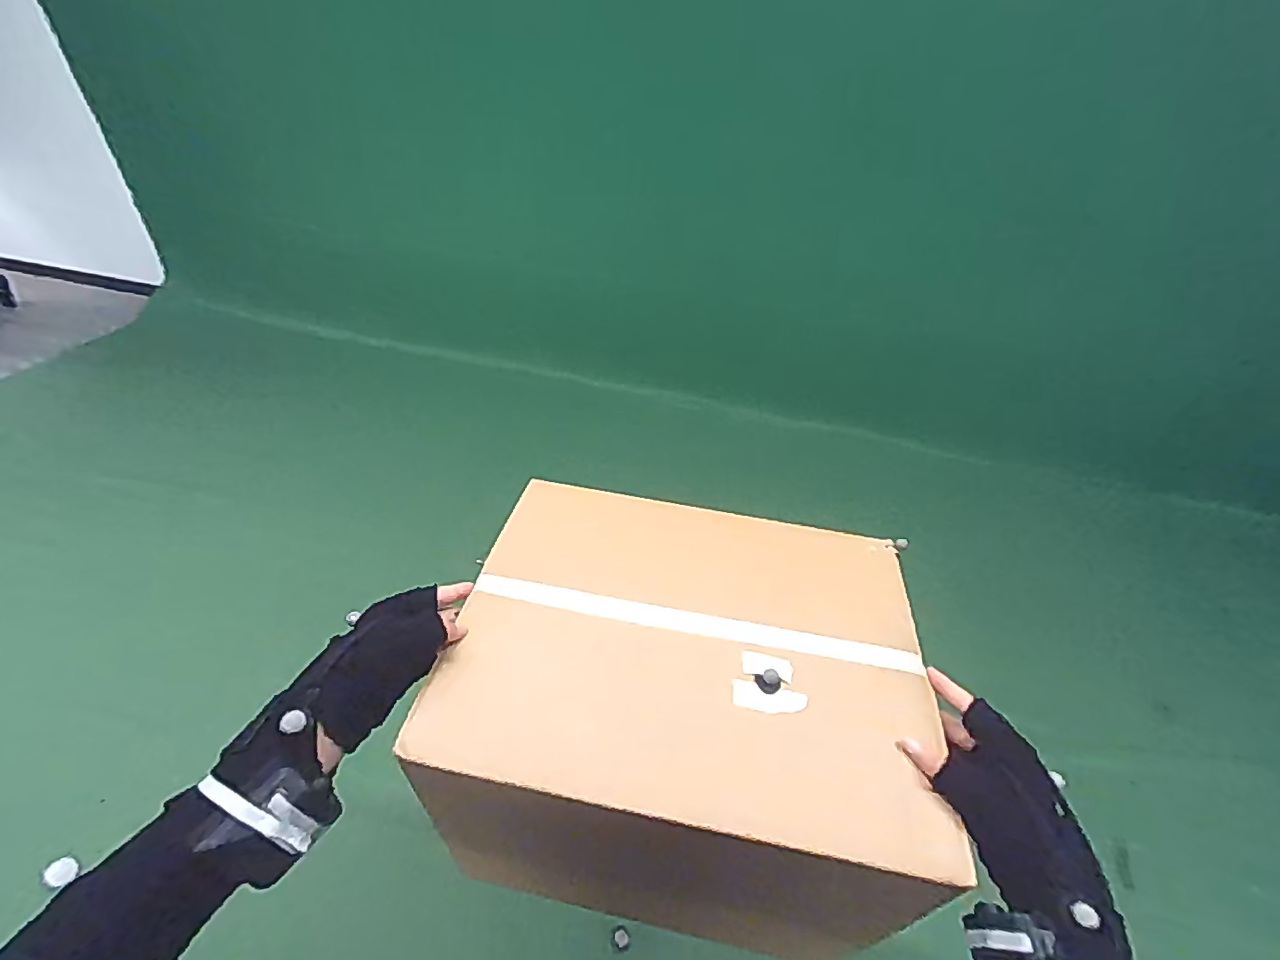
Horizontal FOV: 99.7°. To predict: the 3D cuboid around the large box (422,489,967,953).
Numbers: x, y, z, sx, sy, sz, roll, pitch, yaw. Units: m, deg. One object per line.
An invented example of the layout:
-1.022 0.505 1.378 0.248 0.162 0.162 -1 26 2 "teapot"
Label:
0.042 0.249 0.591 0.408 0.320 0.320 10 41 5 "large box"
